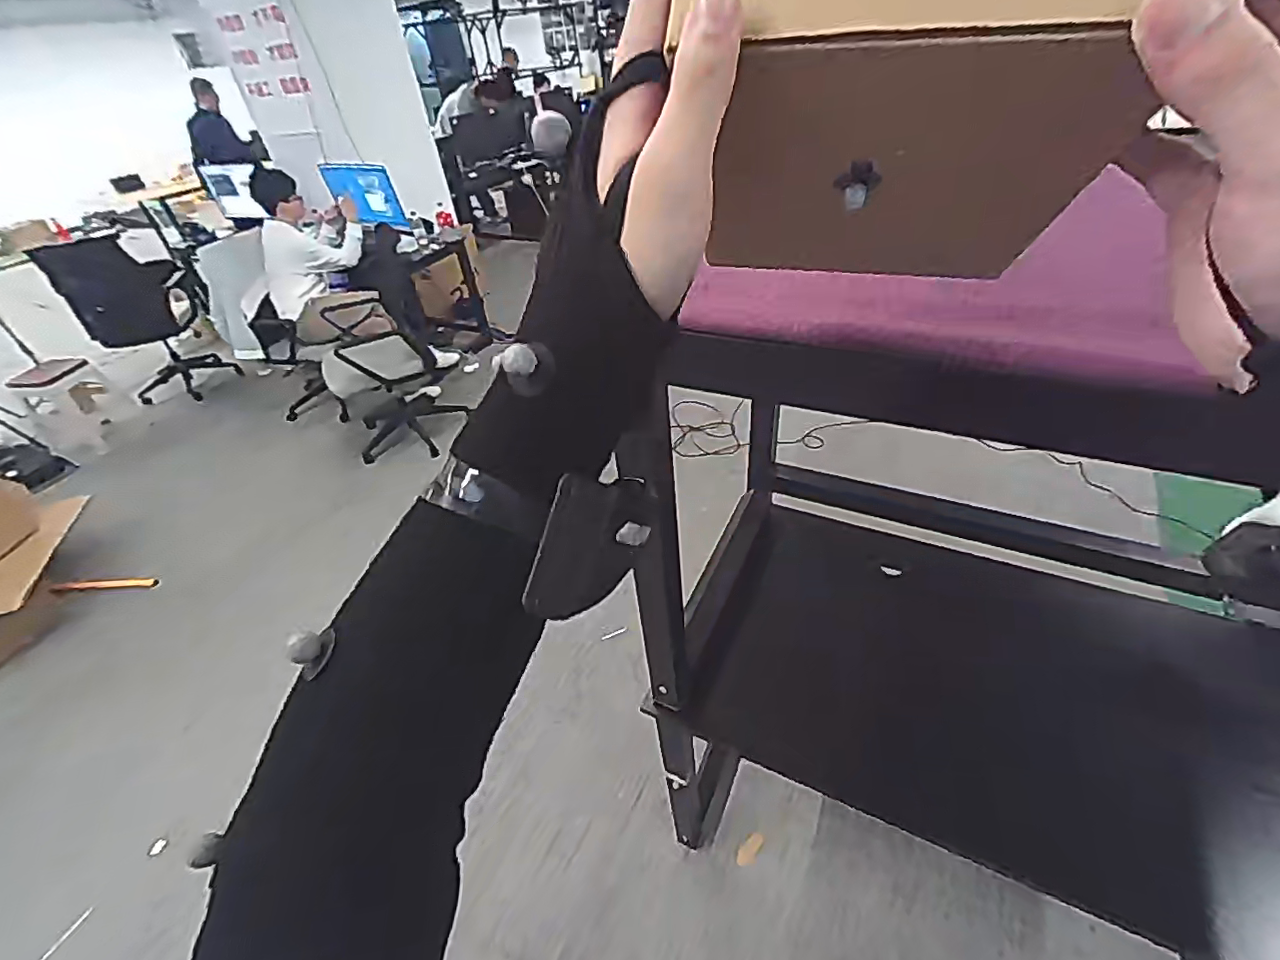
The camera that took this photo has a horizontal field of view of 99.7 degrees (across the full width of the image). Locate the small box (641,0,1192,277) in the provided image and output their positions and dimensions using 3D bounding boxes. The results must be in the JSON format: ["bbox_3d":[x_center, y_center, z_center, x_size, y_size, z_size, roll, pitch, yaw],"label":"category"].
[{"bbox_3d":[0.114,-0.216,0.265,0.179,0.176,0.168,8,86,14],"label":"small box"}]
